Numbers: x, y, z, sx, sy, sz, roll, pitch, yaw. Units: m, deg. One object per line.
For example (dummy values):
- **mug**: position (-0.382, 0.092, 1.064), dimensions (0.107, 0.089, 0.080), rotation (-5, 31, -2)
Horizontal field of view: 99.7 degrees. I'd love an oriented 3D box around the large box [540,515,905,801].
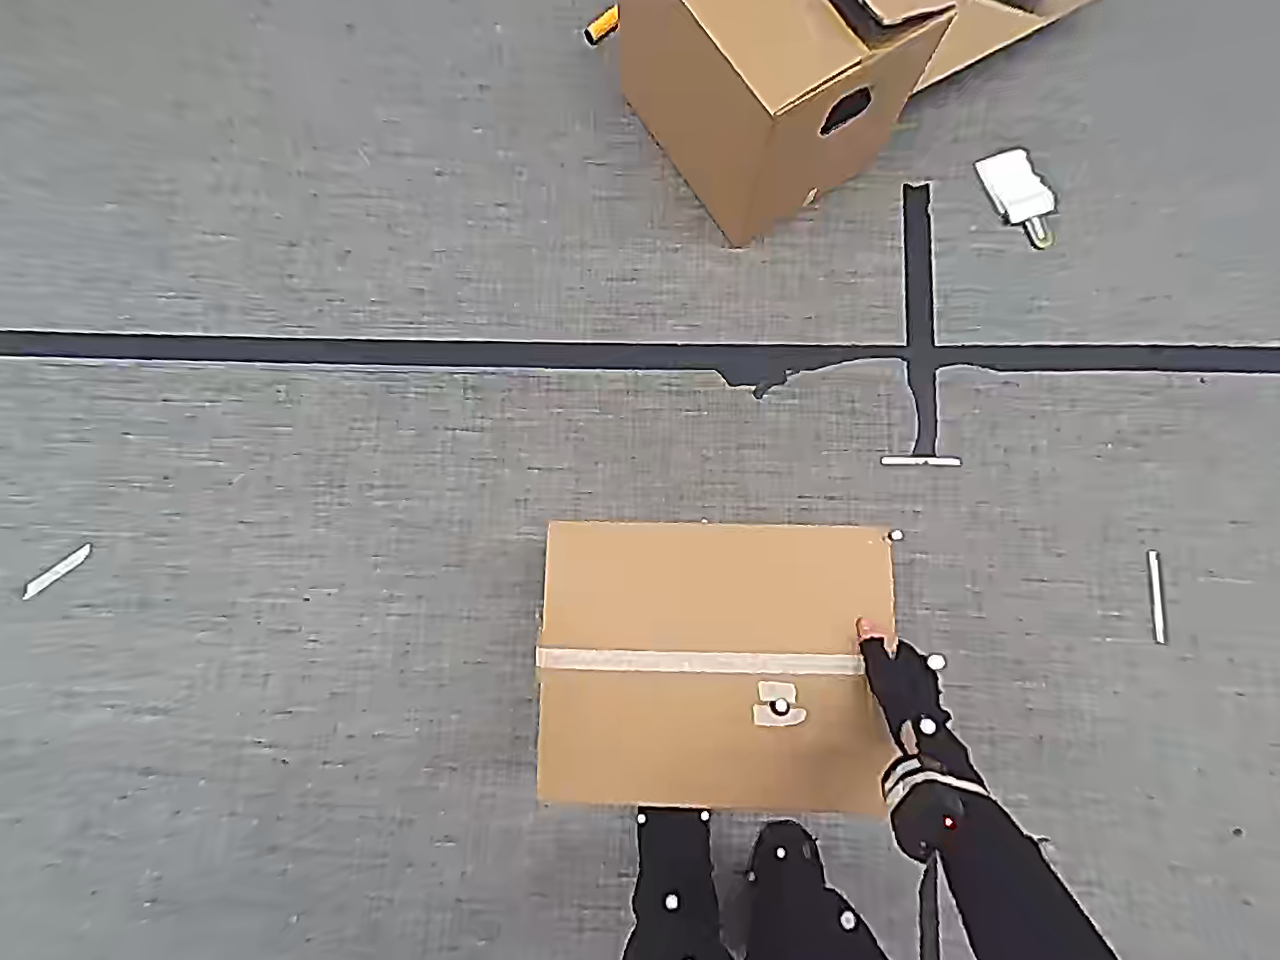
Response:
- **large box**: position (0.090, 0.220, 0.756), dimensions (0.408, 0.320, 0.320), rotation (1, 81, 2)
